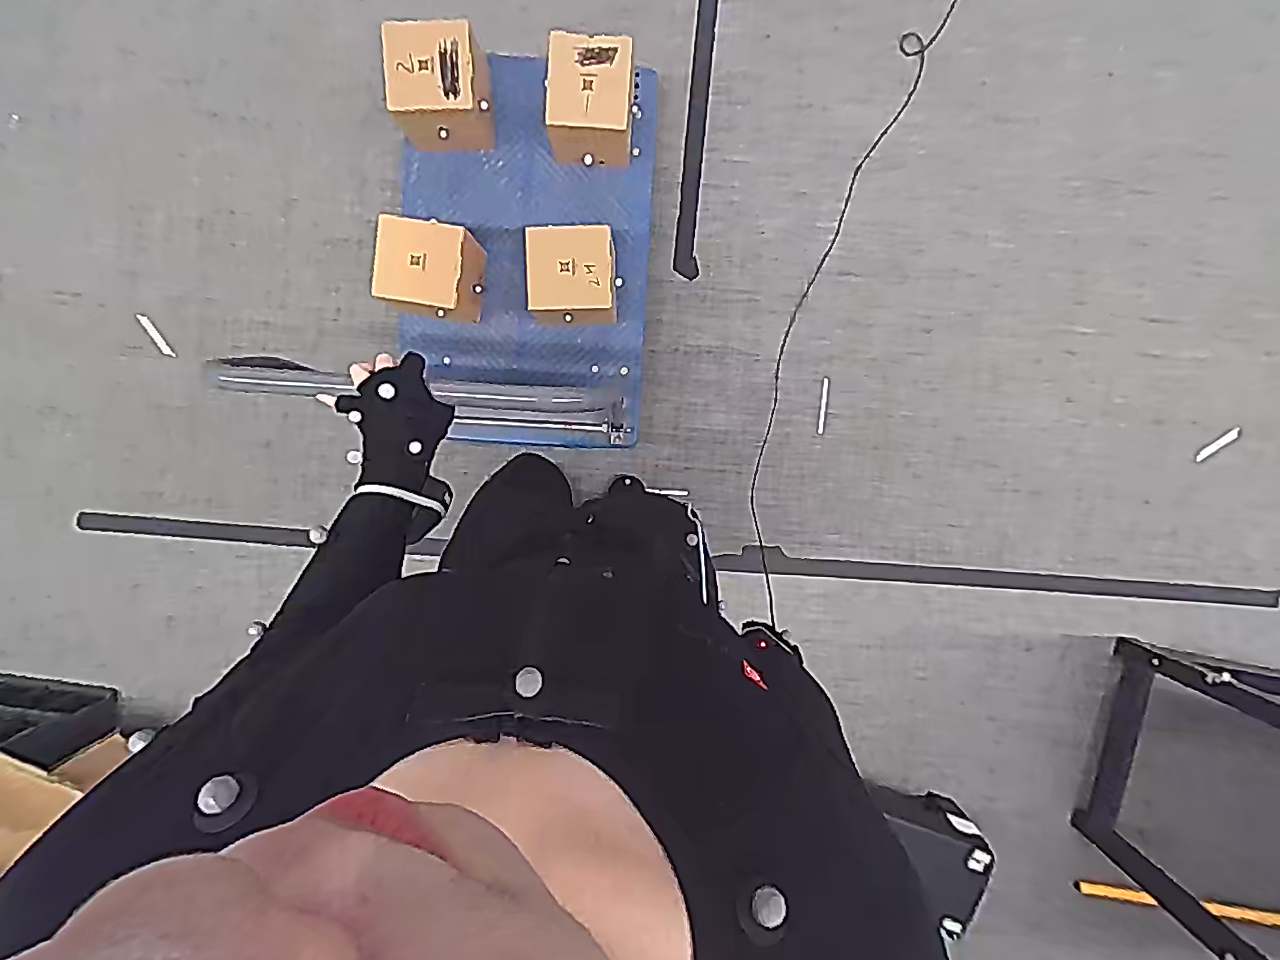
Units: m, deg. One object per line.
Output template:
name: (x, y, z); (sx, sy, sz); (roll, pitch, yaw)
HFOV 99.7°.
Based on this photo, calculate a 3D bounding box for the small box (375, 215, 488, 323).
small box: (-0.447, -0.451, 1.181); (0.179, 0.176, 0.168); (8, 94, -3)

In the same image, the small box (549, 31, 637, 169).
small box: (-0.095, -0.795, 1.146); (0.168, 0.176, 0.179); (4, 97, 0)

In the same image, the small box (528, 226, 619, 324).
small box: (-0.139, -0.438, 1.180); (0.179, 0.176, 0.168); (-1, 96, 1)
